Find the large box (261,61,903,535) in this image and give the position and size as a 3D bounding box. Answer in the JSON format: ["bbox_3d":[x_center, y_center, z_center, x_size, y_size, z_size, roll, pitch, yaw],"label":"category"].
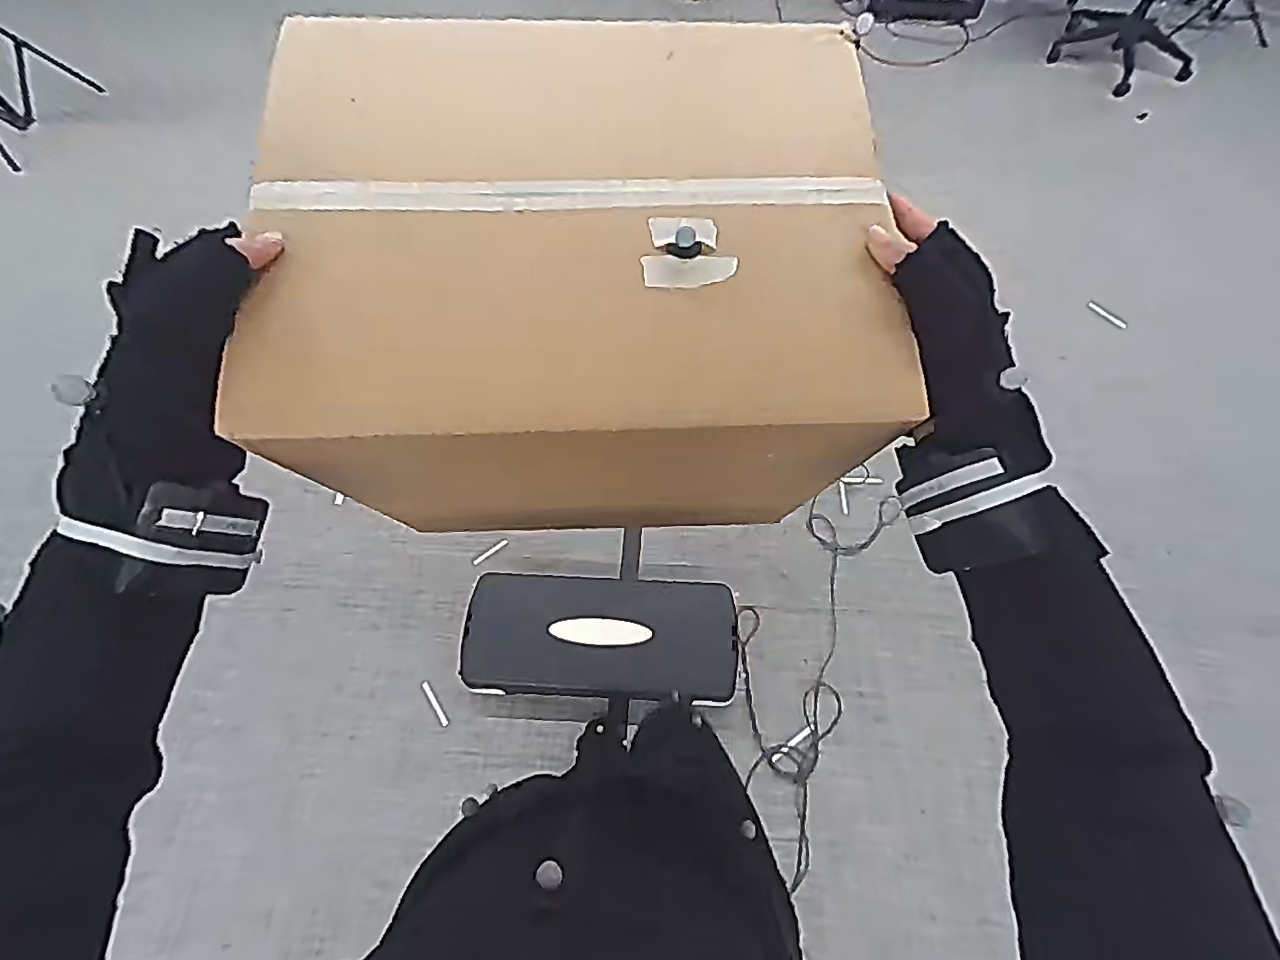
[{"bbox_3d":[-0.044,-0.133,0.515,0.408,0.320,0.320,-2,74,-3],"label":"large box"}]
